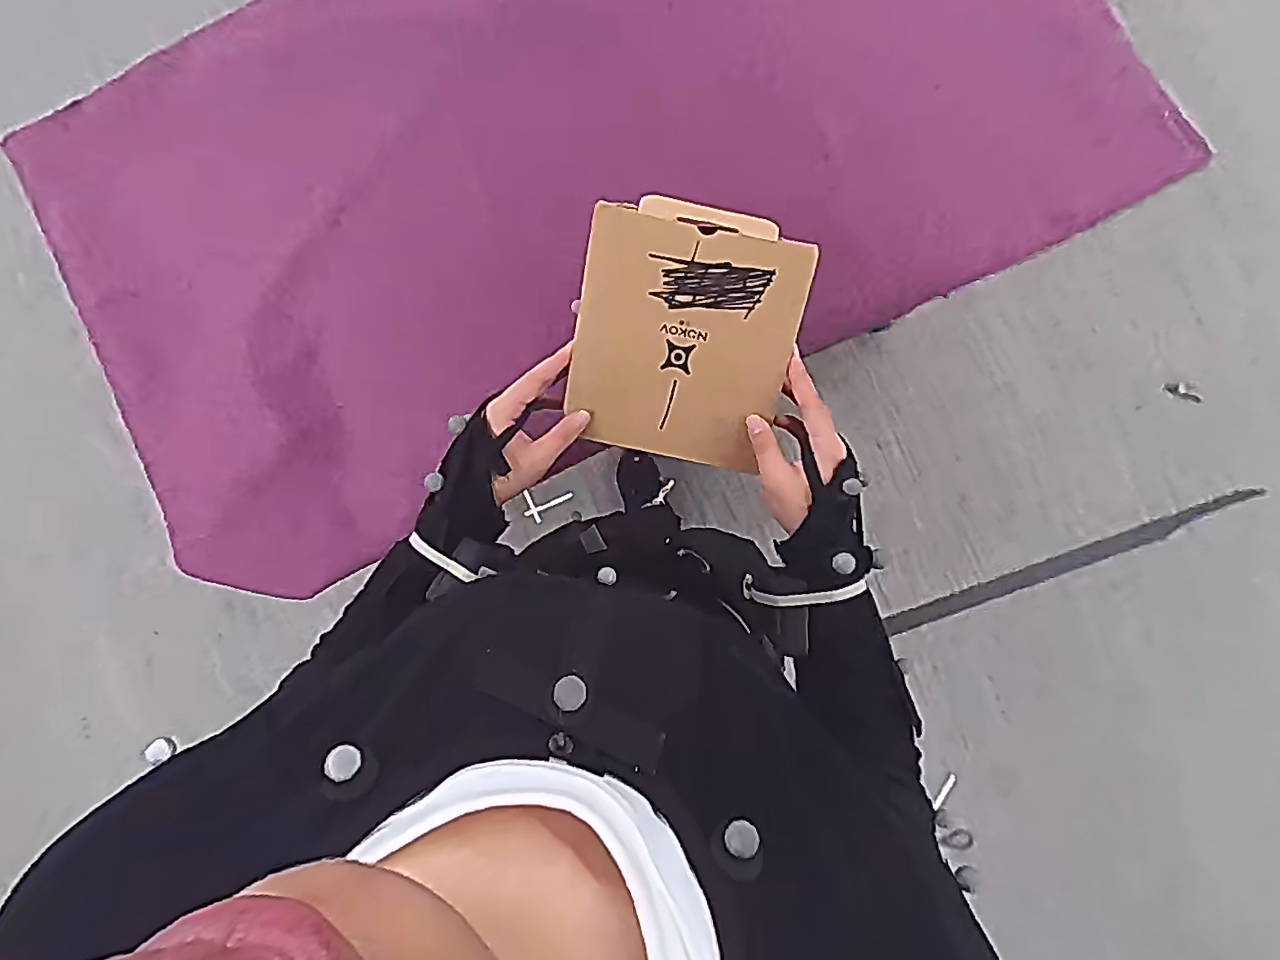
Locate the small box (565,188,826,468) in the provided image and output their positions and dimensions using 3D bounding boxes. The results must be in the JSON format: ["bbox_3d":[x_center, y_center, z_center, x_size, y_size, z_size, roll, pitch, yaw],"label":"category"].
[{"bbox_3d":[0.040,-0.128,0.480,0.168,0.176,0.179,12,106,0],"label":"small box"}]
